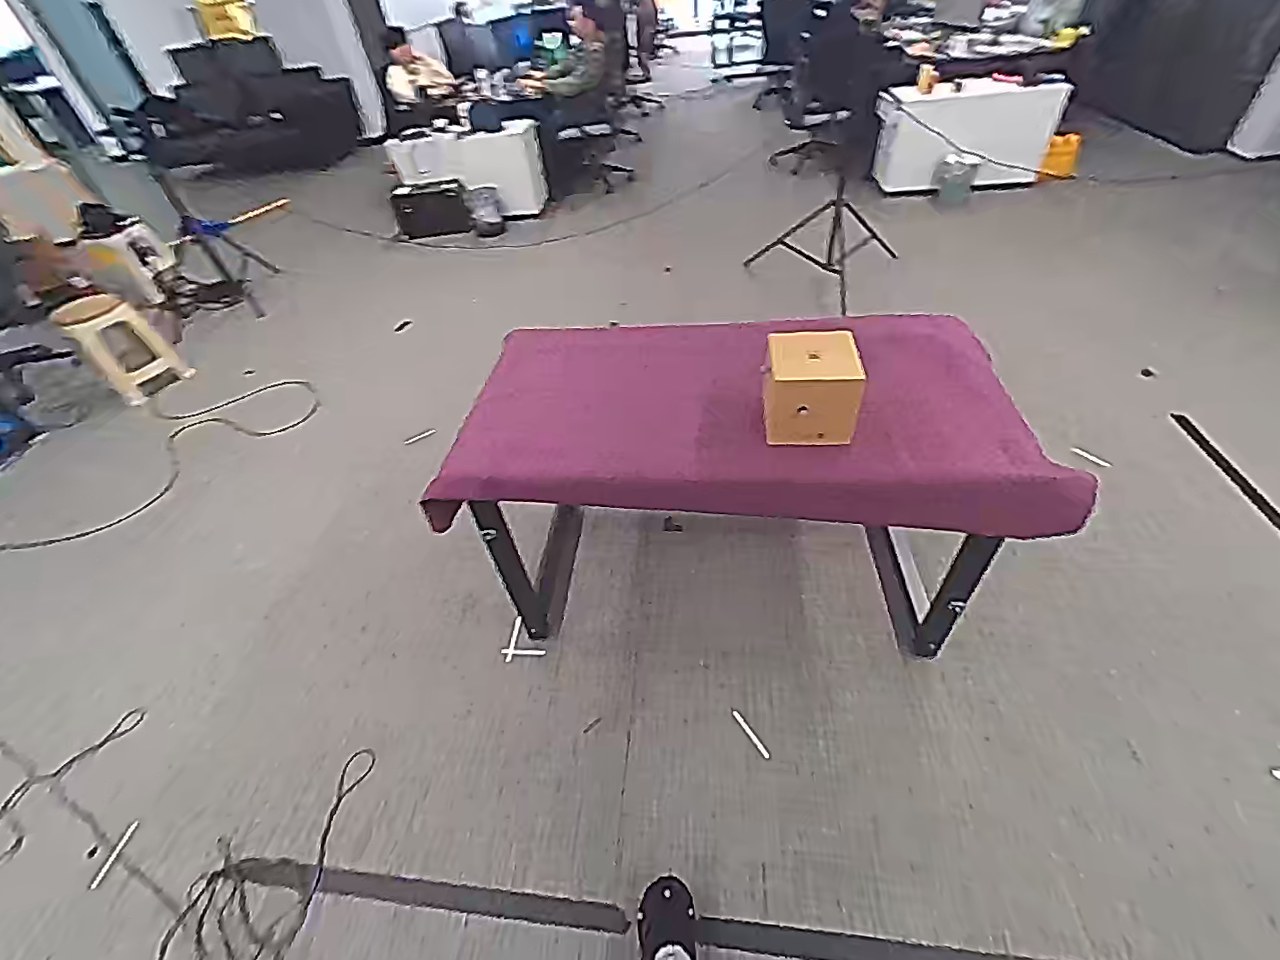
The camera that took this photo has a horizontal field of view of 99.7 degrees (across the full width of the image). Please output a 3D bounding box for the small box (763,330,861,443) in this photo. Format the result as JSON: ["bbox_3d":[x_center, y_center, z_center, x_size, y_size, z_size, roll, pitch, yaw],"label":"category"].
[{"bbox_3d":[0.347,-0.190,1.122,0.168,0.176,0.179,0,44,8],"label":"small box"}]
